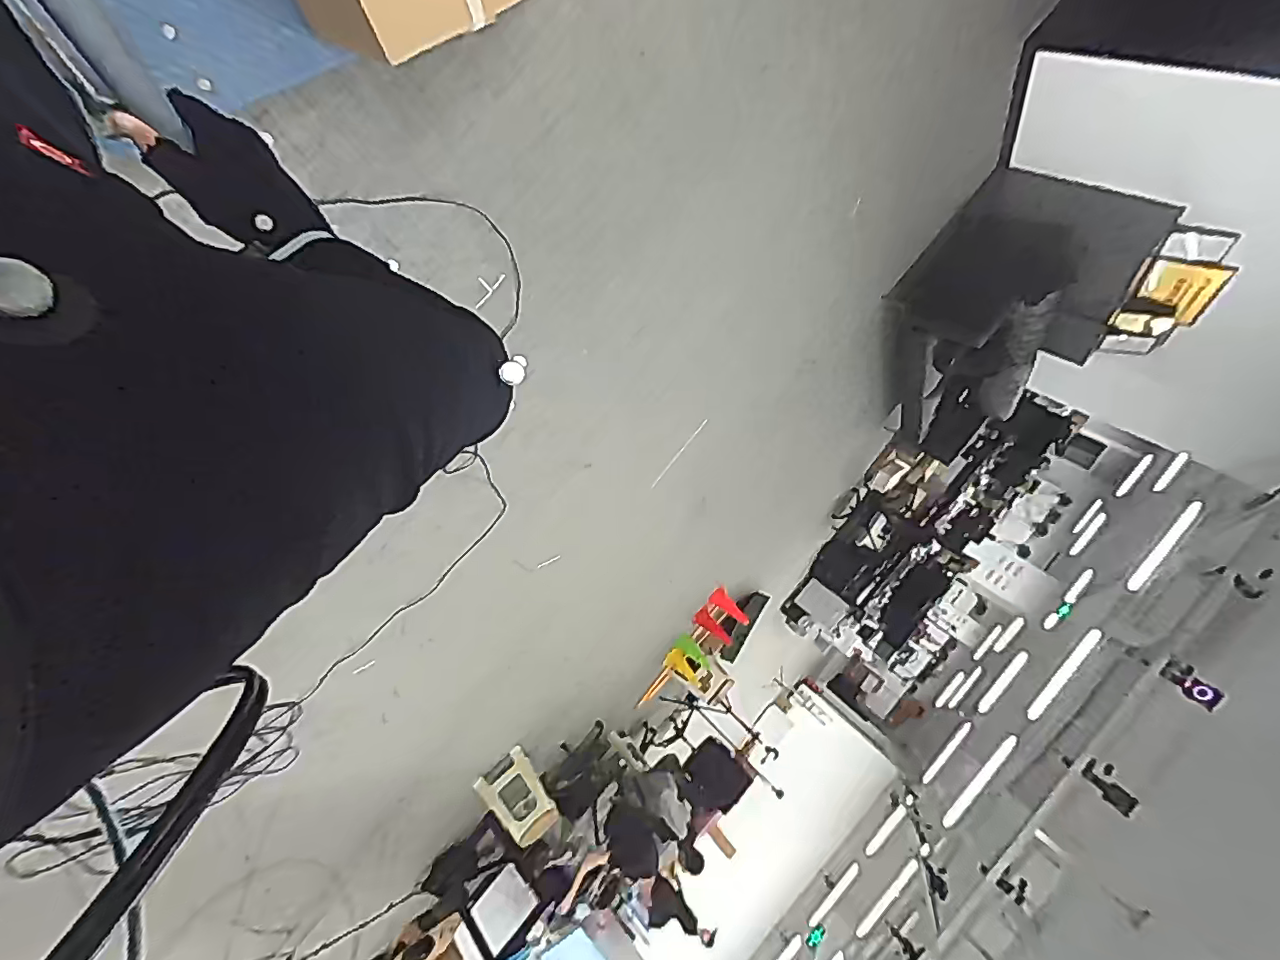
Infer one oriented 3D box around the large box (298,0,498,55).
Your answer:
[{"bbox_3d":[-0.390,-0.889,0.733,0.320,0.320,0.408,-41,146,-16],"label":"large box"}]
